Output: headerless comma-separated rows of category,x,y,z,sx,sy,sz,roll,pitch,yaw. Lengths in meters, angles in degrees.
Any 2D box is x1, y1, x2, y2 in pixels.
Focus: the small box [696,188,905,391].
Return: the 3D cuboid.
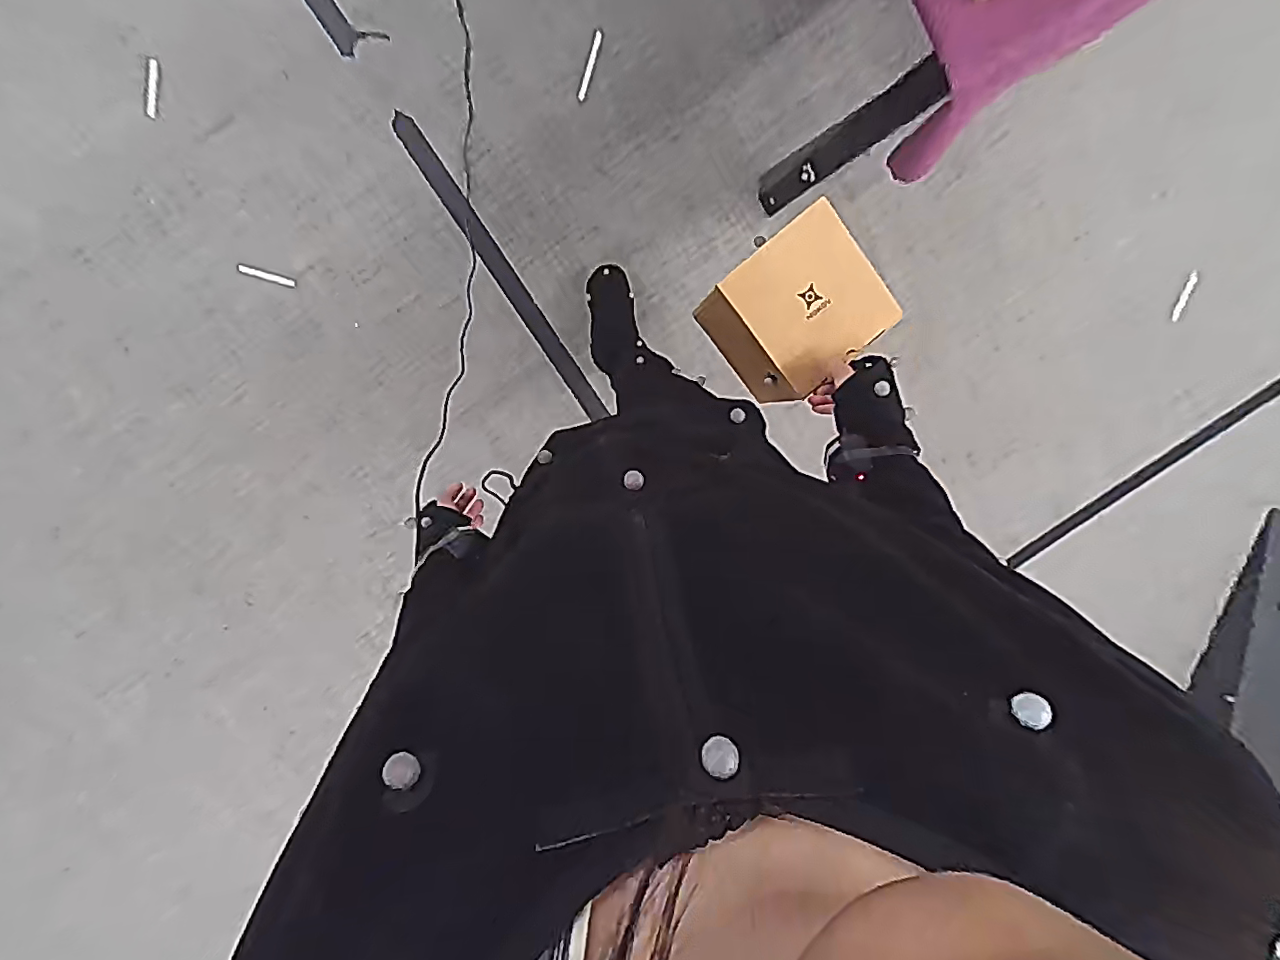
small box,0.197,-0.232,0.716,0.168,0.176,0.179,-40,99,0
